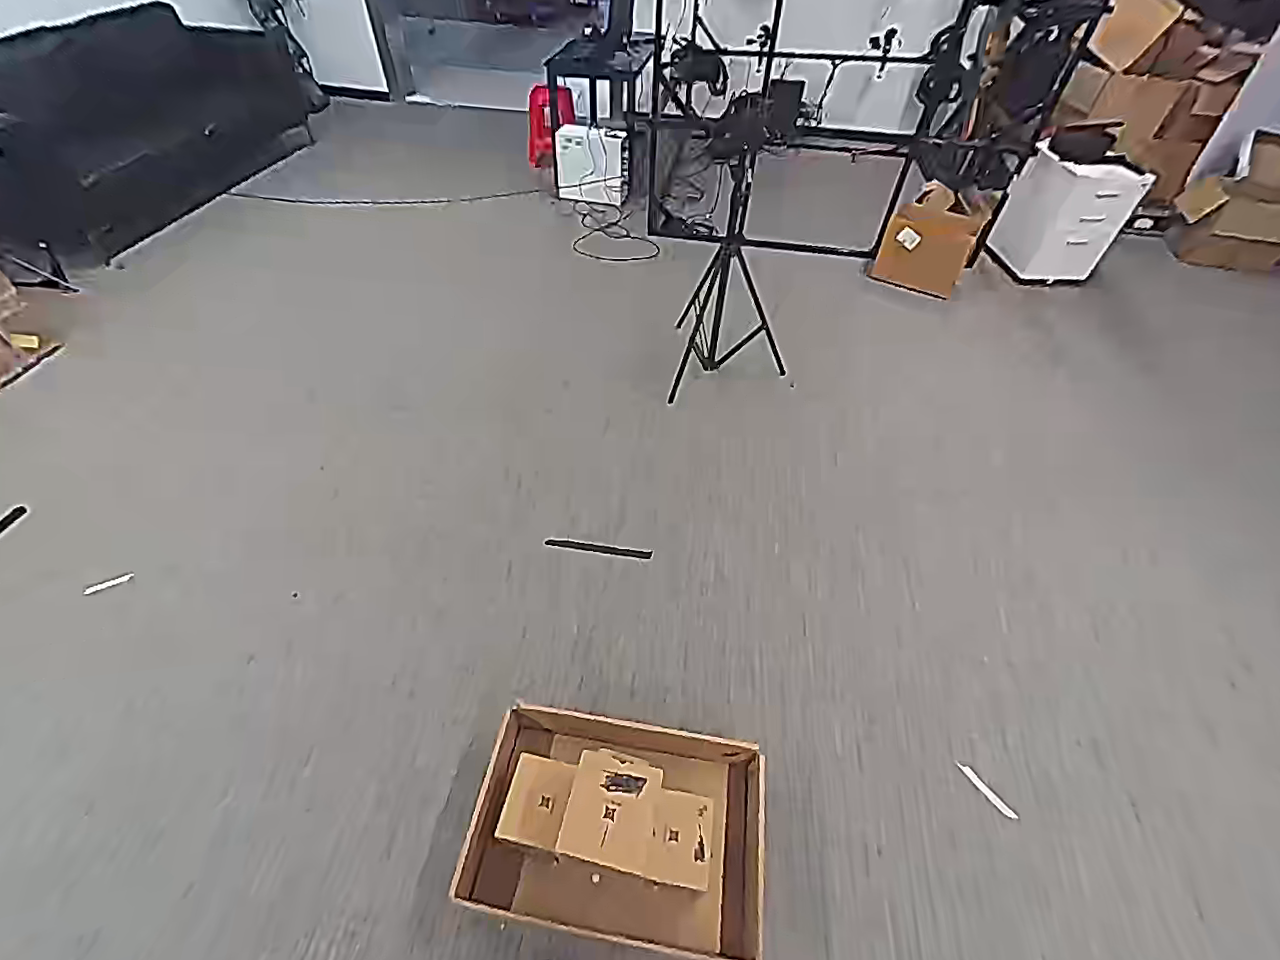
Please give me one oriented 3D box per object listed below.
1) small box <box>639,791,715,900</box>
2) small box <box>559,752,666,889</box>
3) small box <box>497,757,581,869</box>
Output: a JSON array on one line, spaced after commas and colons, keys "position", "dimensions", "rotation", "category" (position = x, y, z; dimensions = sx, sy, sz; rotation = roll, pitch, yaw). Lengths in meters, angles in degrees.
[{"position": [0.066, 0.792, 1.175], "dimensions": [0.179, 0.176, 0.168], "rotation": [6, 49, 7], "category": "small box"}, {"position": [-0.050, 0.668, 1.059], "dimensions": [0.168, 0.176, 0.179], "rotation": [11, 49, 8], "category": "small box"}, {"position": [-0.195, 0.745, 1.205], "dimensions": [0.179, 0.176, 0.168], "rotation": [10, 48, 7], "category": "small box"}]
